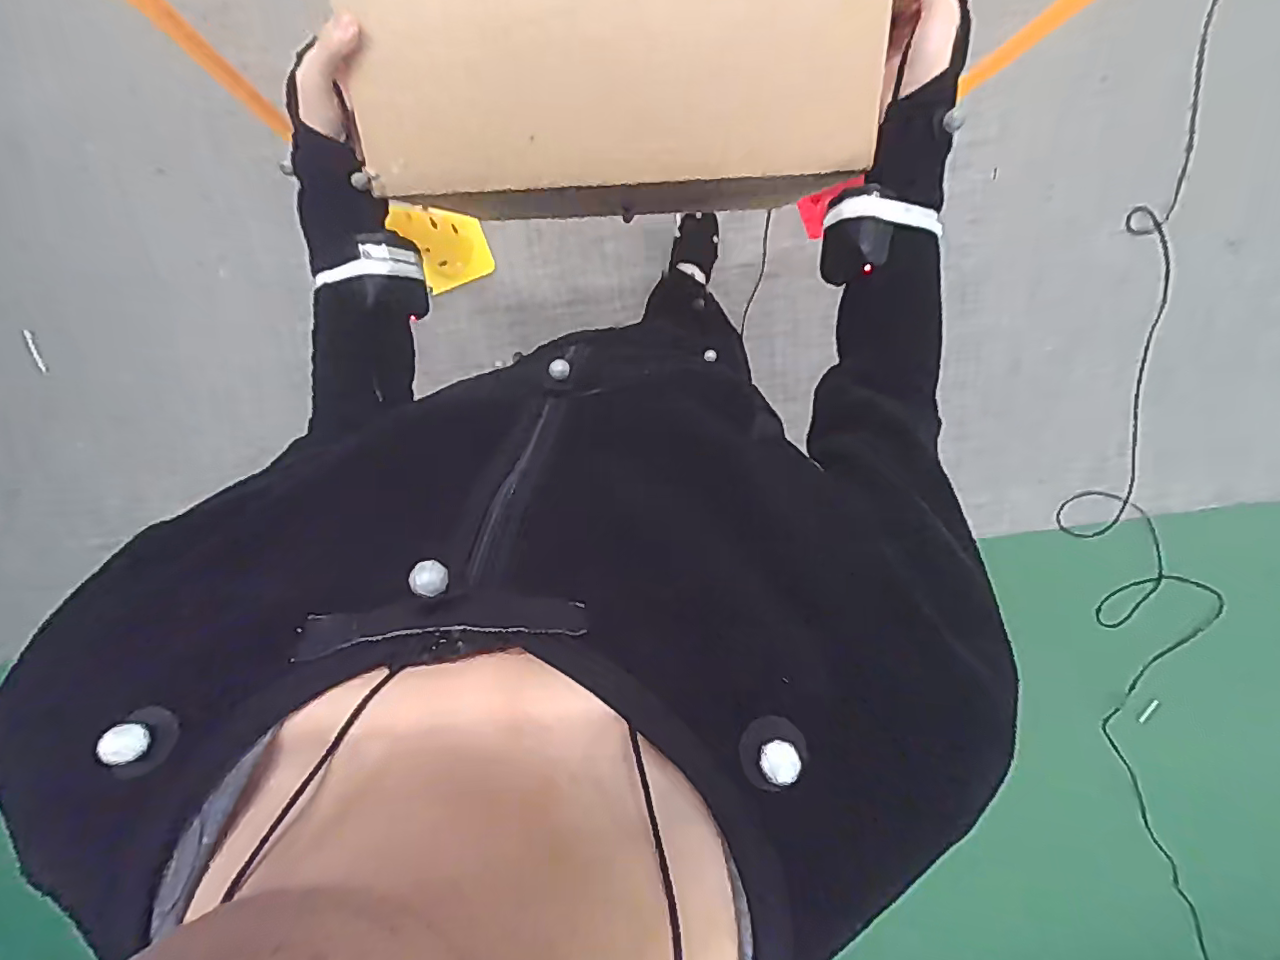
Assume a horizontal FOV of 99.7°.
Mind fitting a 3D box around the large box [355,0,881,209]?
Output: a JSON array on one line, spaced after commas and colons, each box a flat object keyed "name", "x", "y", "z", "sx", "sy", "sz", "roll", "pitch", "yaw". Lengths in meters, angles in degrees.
[{"name": "large box", "x": -0.015, "y": -0.453, "z": 0.528, "sx": 0.408, "sy": 0.320, "sz": 0.320, "roll": -2, "pitch": 112, "yaw": 2}]
